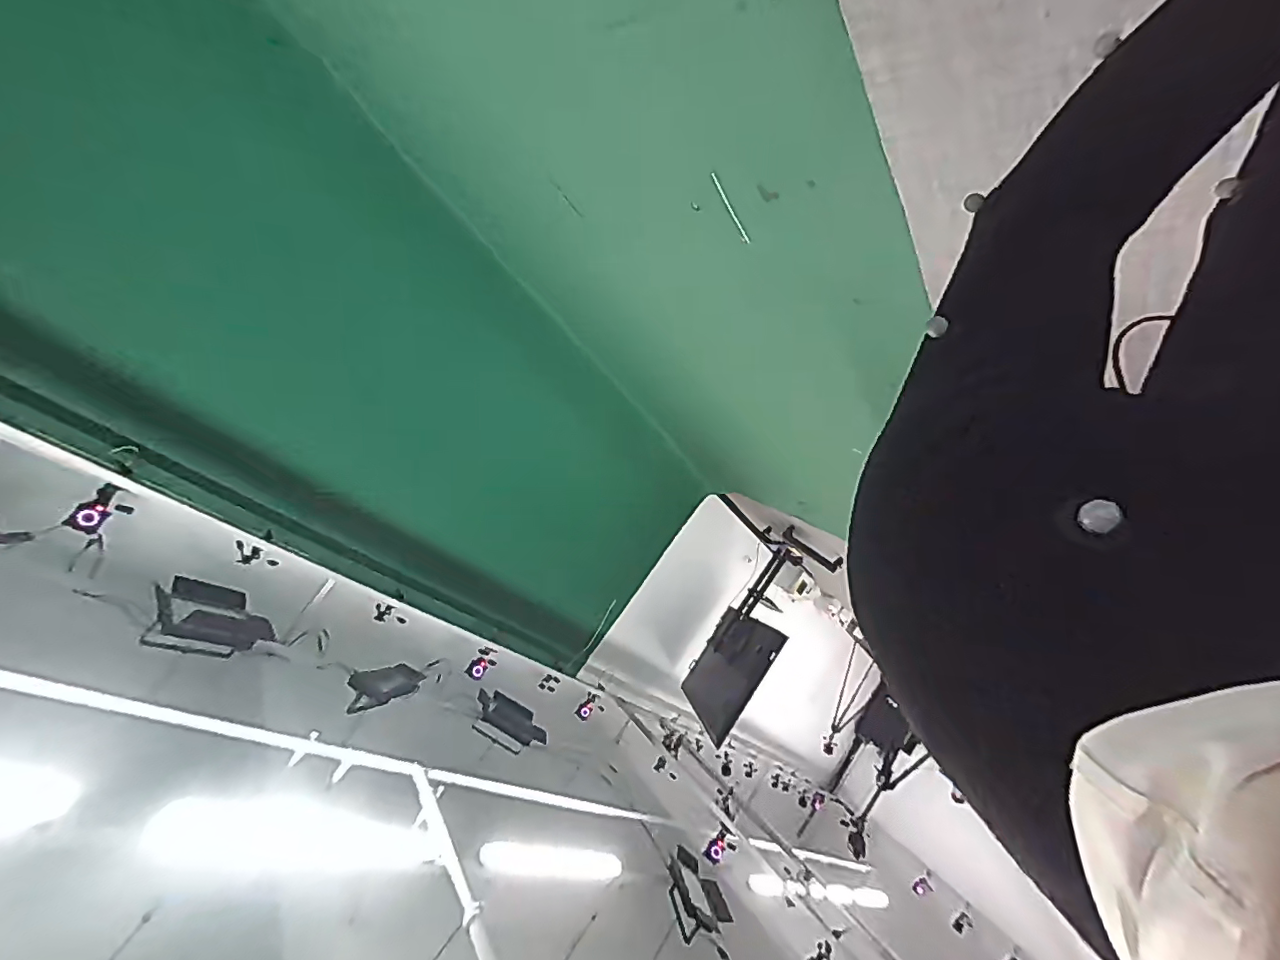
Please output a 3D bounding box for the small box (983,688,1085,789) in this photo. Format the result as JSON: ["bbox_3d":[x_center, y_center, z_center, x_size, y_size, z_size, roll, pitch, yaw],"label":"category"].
[{"bbox_3d":[1.093,0.710,1.495,0.179,0.176,0.168,41,170,-35],"label":"small box"}]

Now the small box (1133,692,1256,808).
[{"bbox_3d":[1.342,0.650,1.313,0.179,0.176,0.168,44,169,-37],"label":"small box"}]
